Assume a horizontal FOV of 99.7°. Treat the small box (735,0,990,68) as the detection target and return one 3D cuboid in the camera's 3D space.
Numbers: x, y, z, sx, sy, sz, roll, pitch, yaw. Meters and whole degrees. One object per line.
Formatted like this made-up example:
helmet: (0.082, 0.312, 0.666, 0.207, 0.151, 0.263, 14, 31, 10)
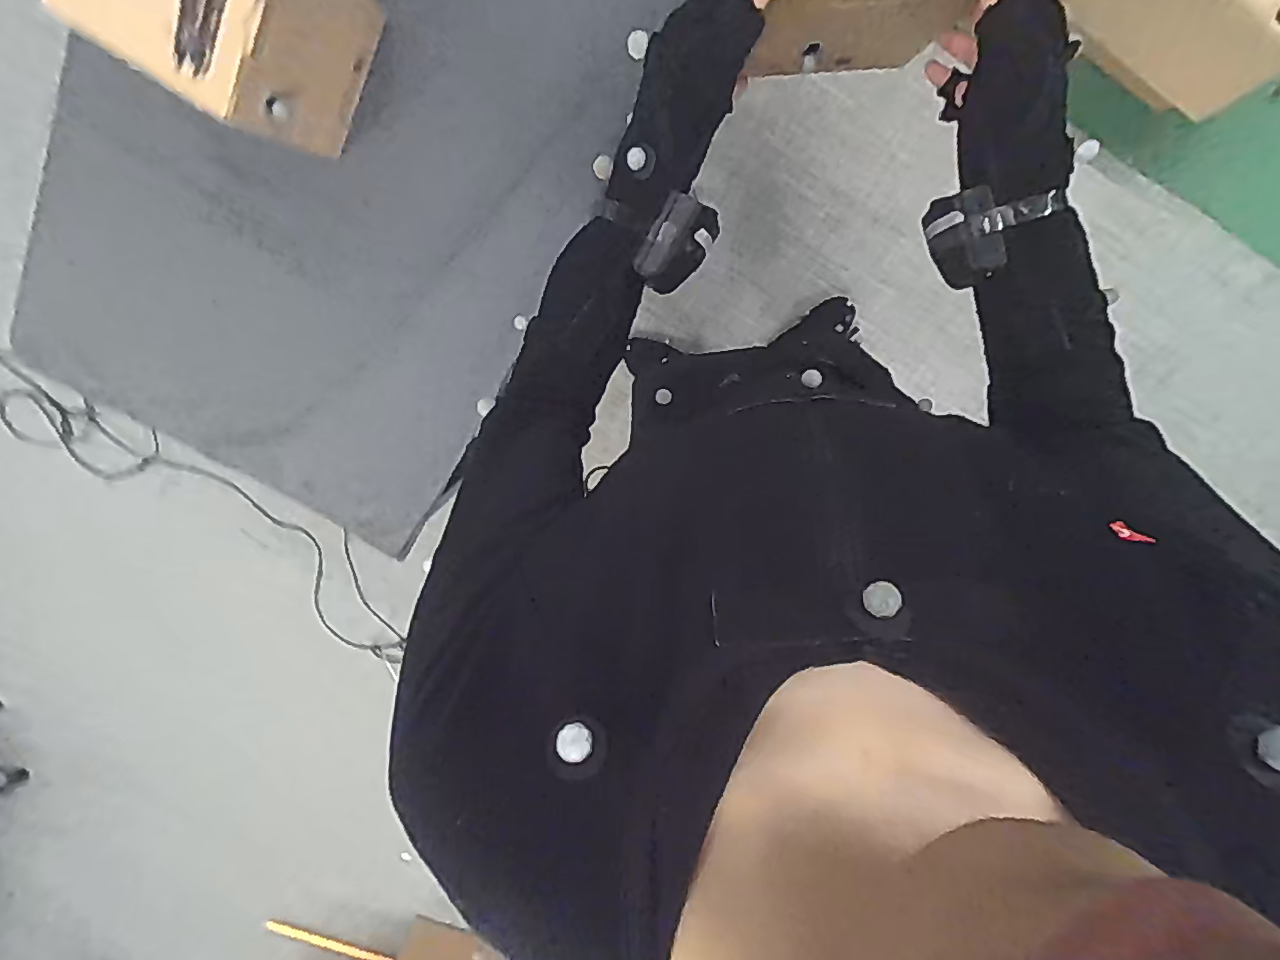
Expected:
small box: (0.159, -0.422, 0.377, 0.168, 0.176, 0.179, -1, 113, 3)
